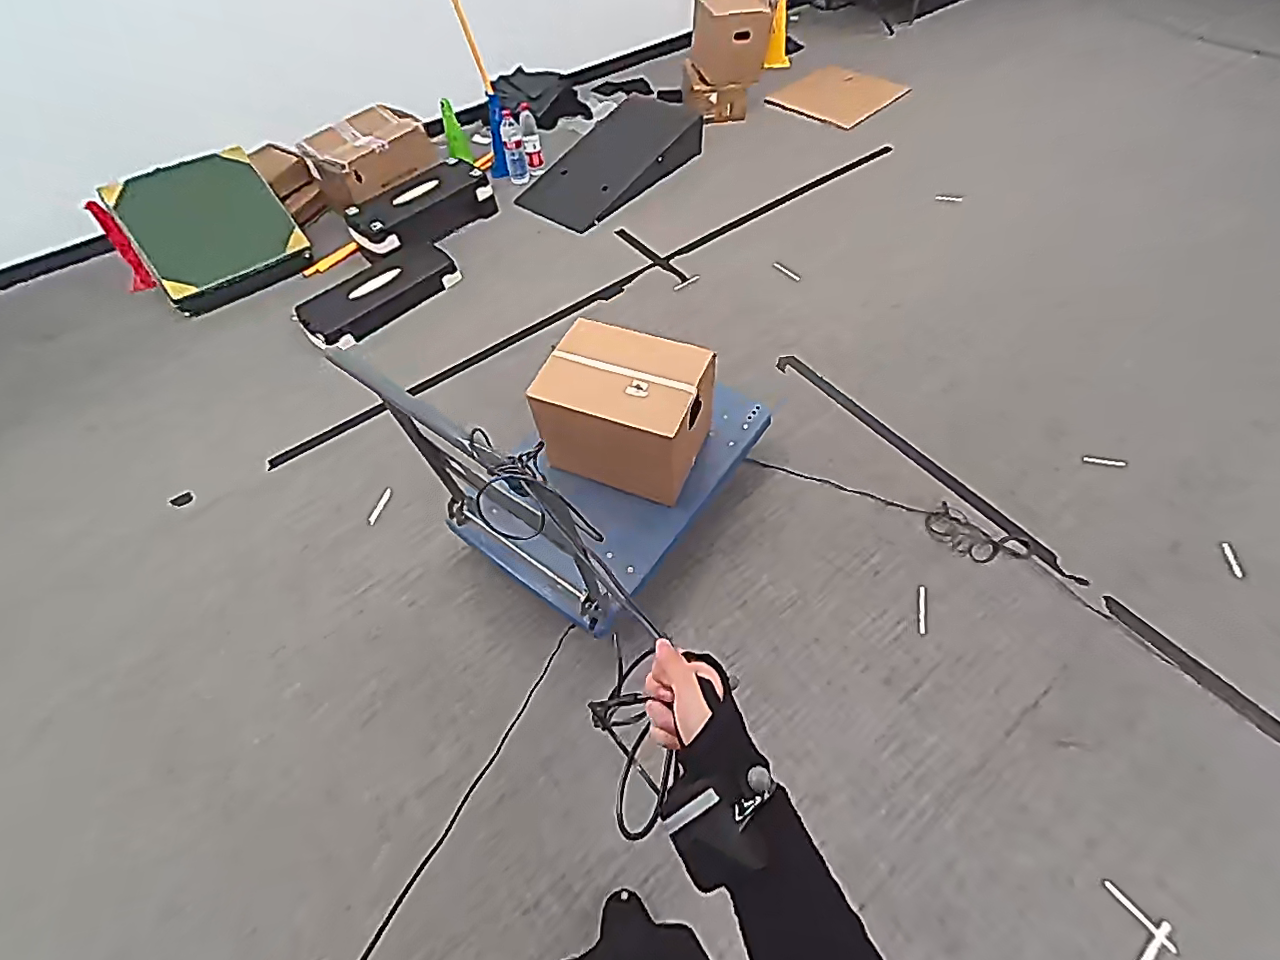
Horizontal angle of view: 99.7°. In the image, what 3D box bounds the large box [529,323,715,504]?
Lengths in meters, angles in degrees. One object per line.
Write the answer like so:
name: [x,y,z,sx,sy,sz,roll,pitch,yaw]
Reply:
large box: [-0.038,-0.183,1.503,0.408,0.320,0.320,18,59,14]
